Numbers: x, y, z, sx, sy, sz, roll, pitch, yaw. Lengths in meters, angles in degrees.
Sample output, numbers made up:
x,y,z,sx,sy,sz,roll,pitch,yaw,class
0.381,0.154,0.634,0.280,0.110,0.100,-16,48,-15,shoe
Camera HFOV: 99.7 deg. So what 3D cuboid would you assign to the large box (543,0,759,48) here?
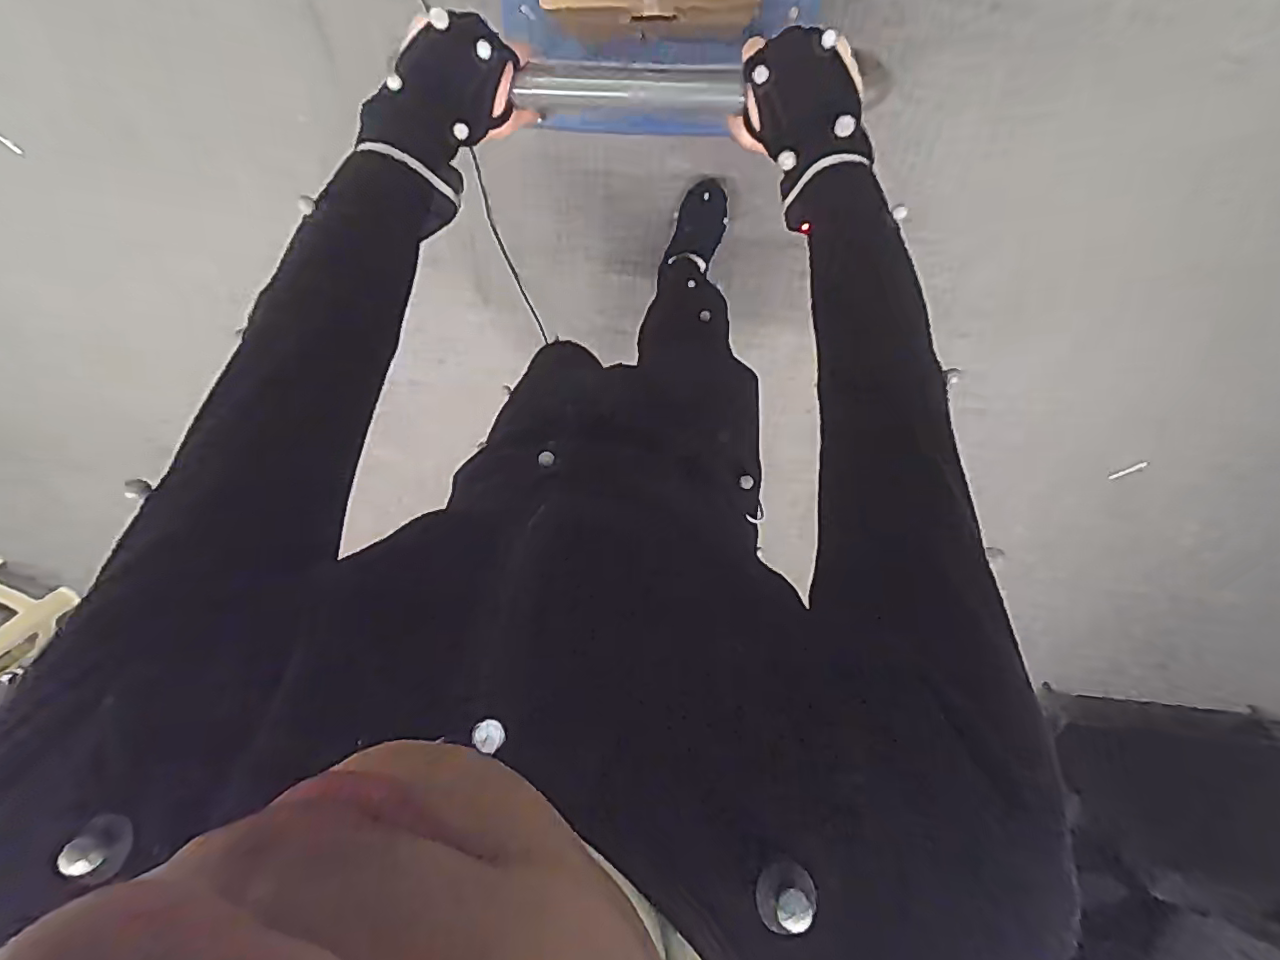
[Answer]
x,y,z,sx,sy,sz,roll,pitch,yaw,class
0.022,-0.908,0.786,0.320,0.320,0.408,2,122,3,large box
